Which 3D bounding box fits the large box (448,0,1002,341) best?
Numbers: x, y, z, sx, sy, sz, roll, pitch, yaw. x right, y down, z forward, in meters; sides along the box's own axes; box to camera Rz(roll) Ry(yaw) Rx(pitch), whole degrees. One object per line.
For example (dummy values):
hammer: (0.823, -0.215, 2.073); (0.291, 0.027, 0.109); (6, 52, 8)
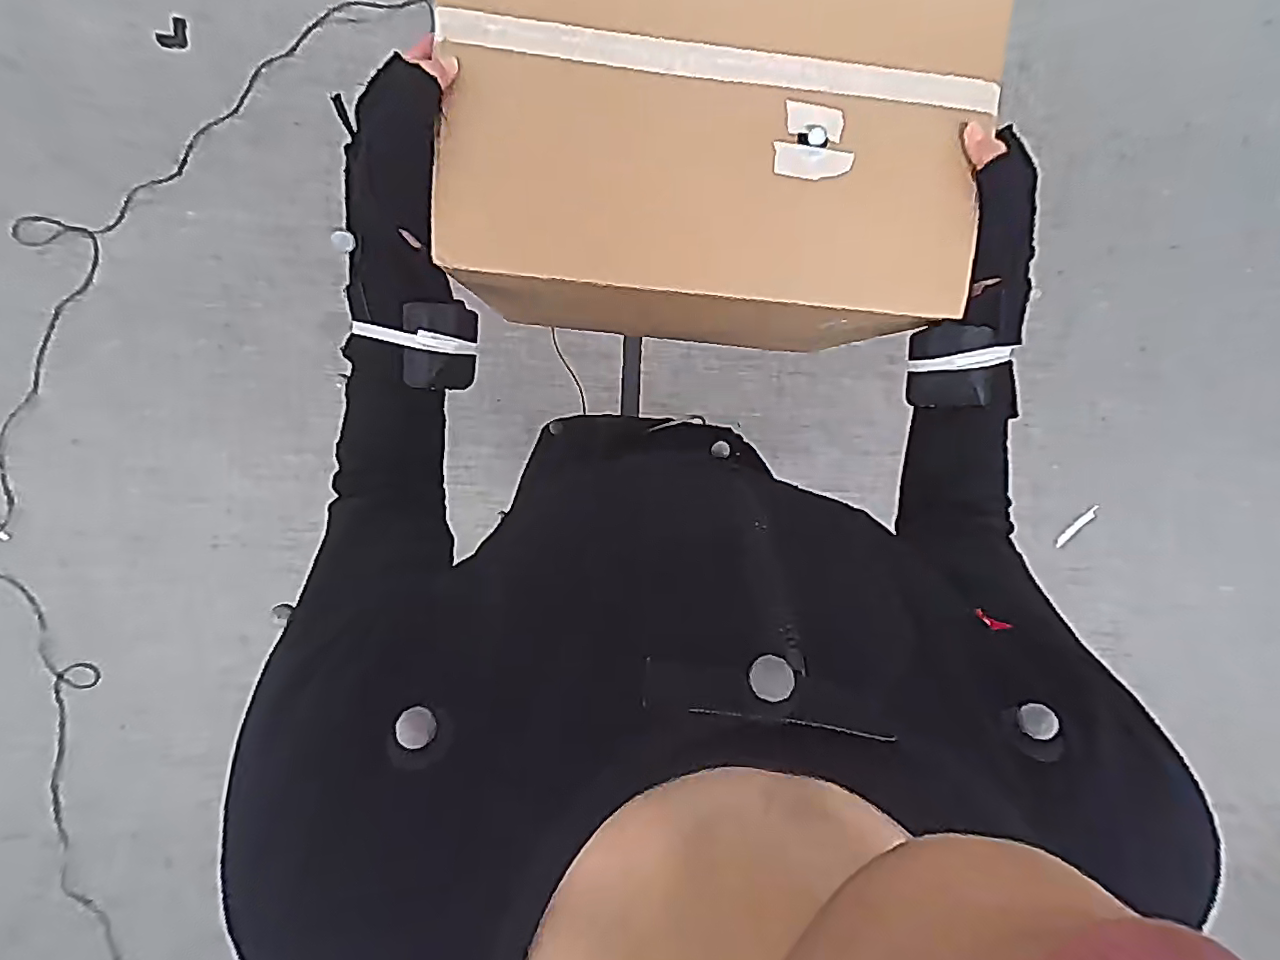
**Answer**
large box: (0.051, -0.324, 0.540); (0.408, 0.320, 0.320); (4, 100, -6)
